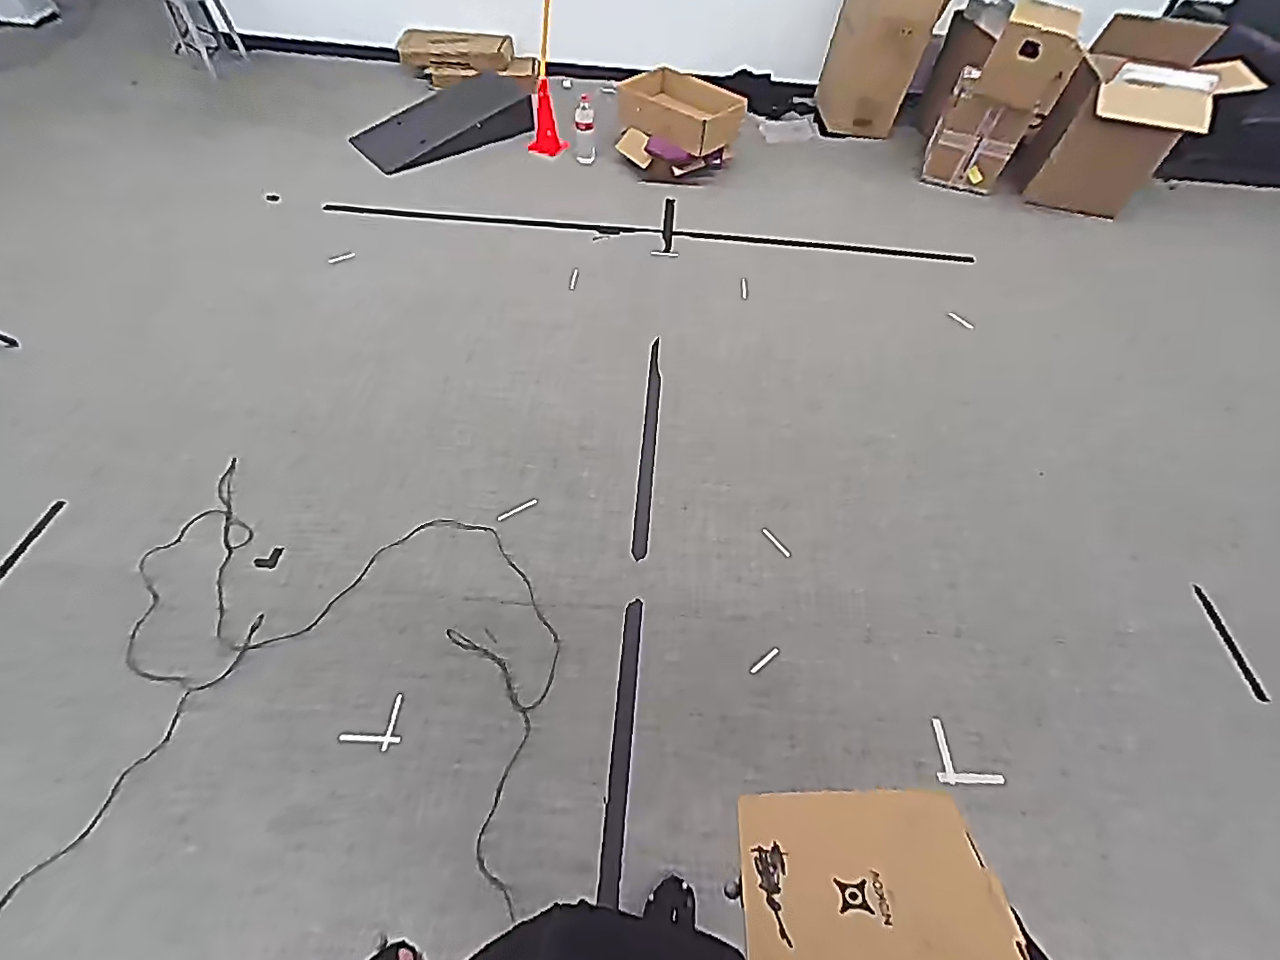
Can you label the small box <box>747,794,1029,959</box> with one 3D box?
[{"bbox_3d":[0.180,0.378,0.420,0.179,0.176,0.168,-6,20,9],"label":"small box"}]
